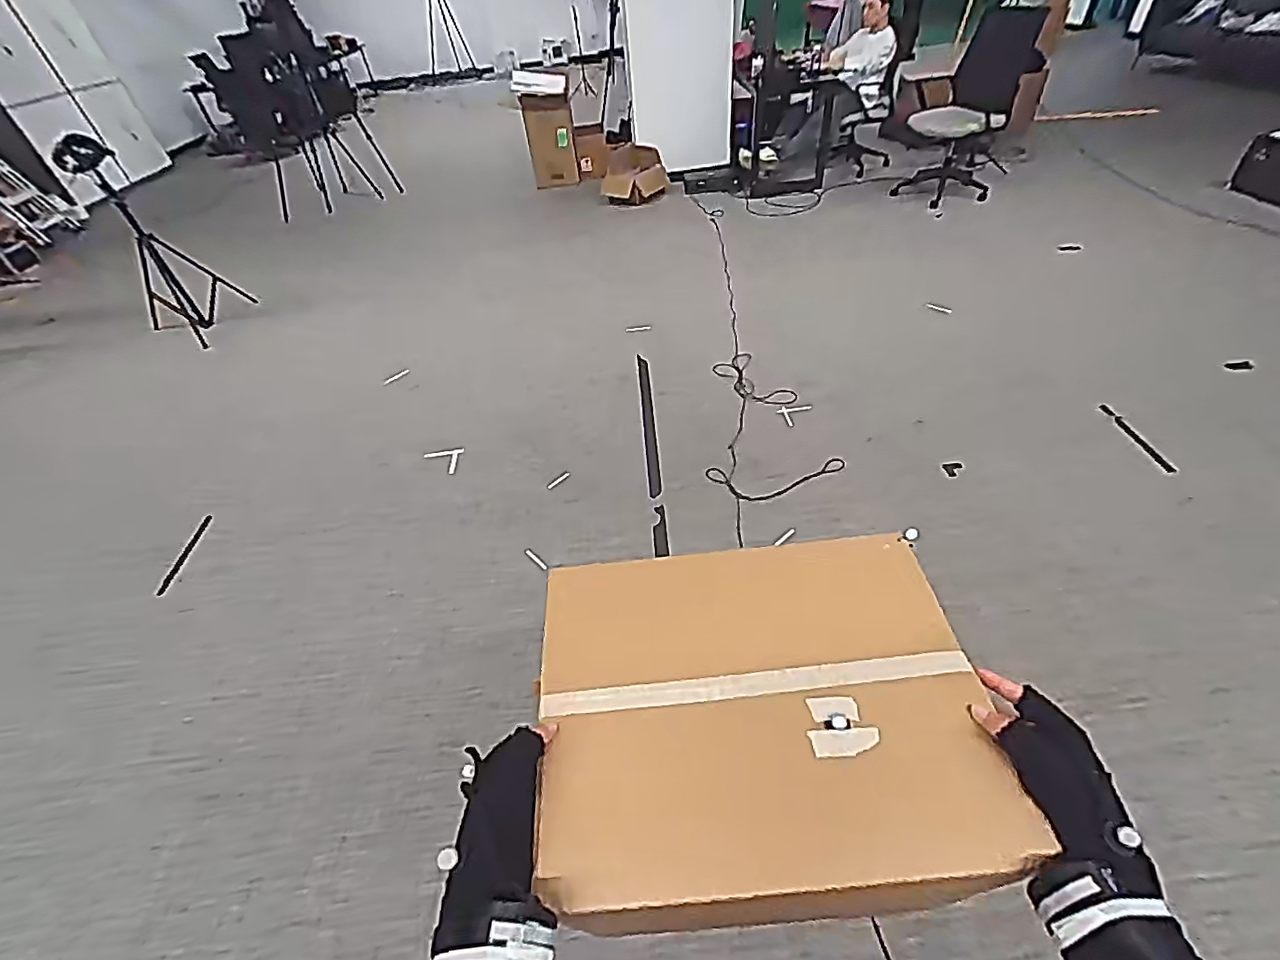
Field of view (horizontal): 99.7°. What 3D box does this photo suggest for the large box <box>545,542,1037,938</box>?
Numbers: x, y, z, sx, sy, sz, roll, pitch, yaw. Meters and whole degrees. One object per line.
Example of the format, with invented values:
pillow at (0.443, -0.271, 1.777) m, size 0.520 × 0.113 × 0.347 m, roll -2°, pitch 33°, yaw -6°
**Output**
large box at (0.119, 0.308, 0.635) m, size 0.408 × 0.320 × 0.320 m, roll -6°, pitch 47°, yaw 1°
